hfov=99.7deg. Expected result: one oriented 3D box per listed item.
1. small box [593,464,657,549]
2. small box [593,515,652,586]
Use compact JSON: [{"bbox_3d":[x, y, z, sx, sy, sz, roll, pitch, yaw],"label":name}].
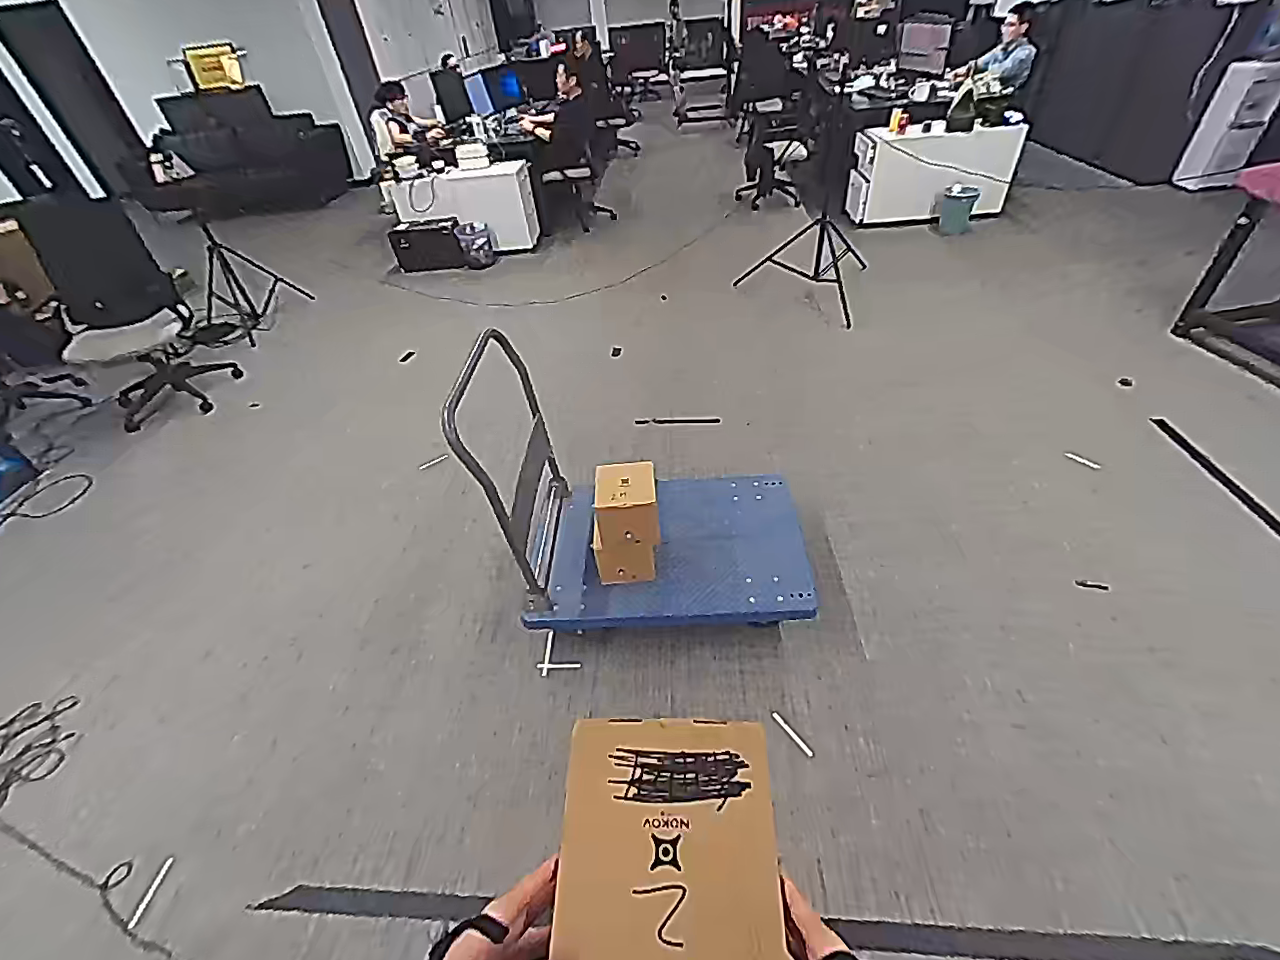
[{"bbox_3d":[-0.040,0.076,1.547,0.168,0.176,0.179,-5,42,2],"label":"small box"},{"bbox_3d":[-0.051,0.201,1.657,0.168,0.176,0.179,-5,42,1],"label":"small box"}]
